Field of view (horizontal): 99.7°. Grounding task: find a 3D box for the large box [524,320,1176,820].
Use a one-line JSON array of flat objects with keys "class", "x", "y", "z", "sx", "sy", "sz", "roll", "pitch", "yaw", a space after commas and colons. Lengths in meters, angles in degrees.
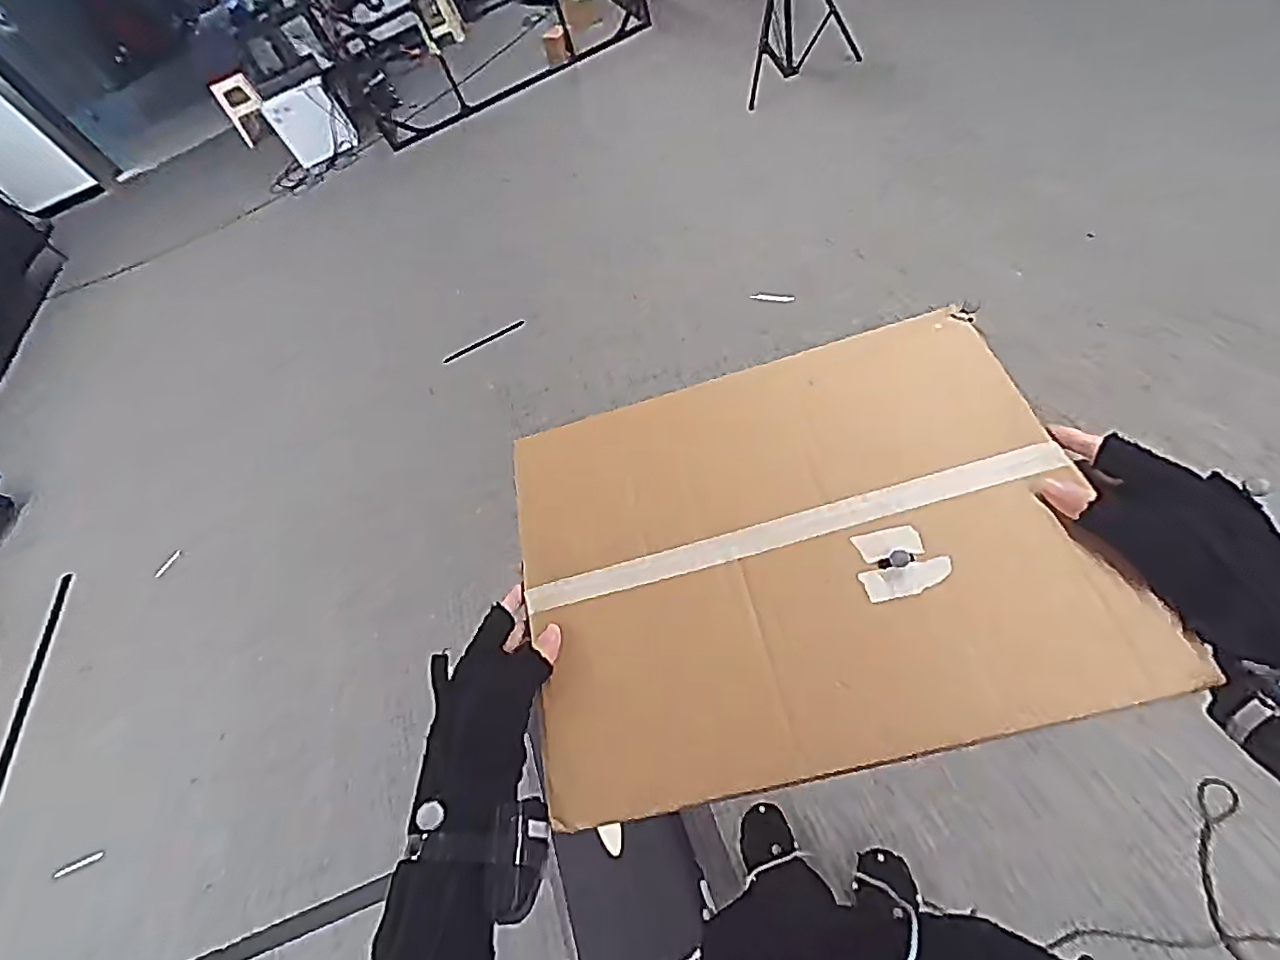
[{"class": "large box", "x": 0.140, "y": 0.112, "z": 0.546, "sx": 0.408, "sy": 0.320, "sz": 0.320, "roll": -17, "pitch": 60, "yaw": 5}]
